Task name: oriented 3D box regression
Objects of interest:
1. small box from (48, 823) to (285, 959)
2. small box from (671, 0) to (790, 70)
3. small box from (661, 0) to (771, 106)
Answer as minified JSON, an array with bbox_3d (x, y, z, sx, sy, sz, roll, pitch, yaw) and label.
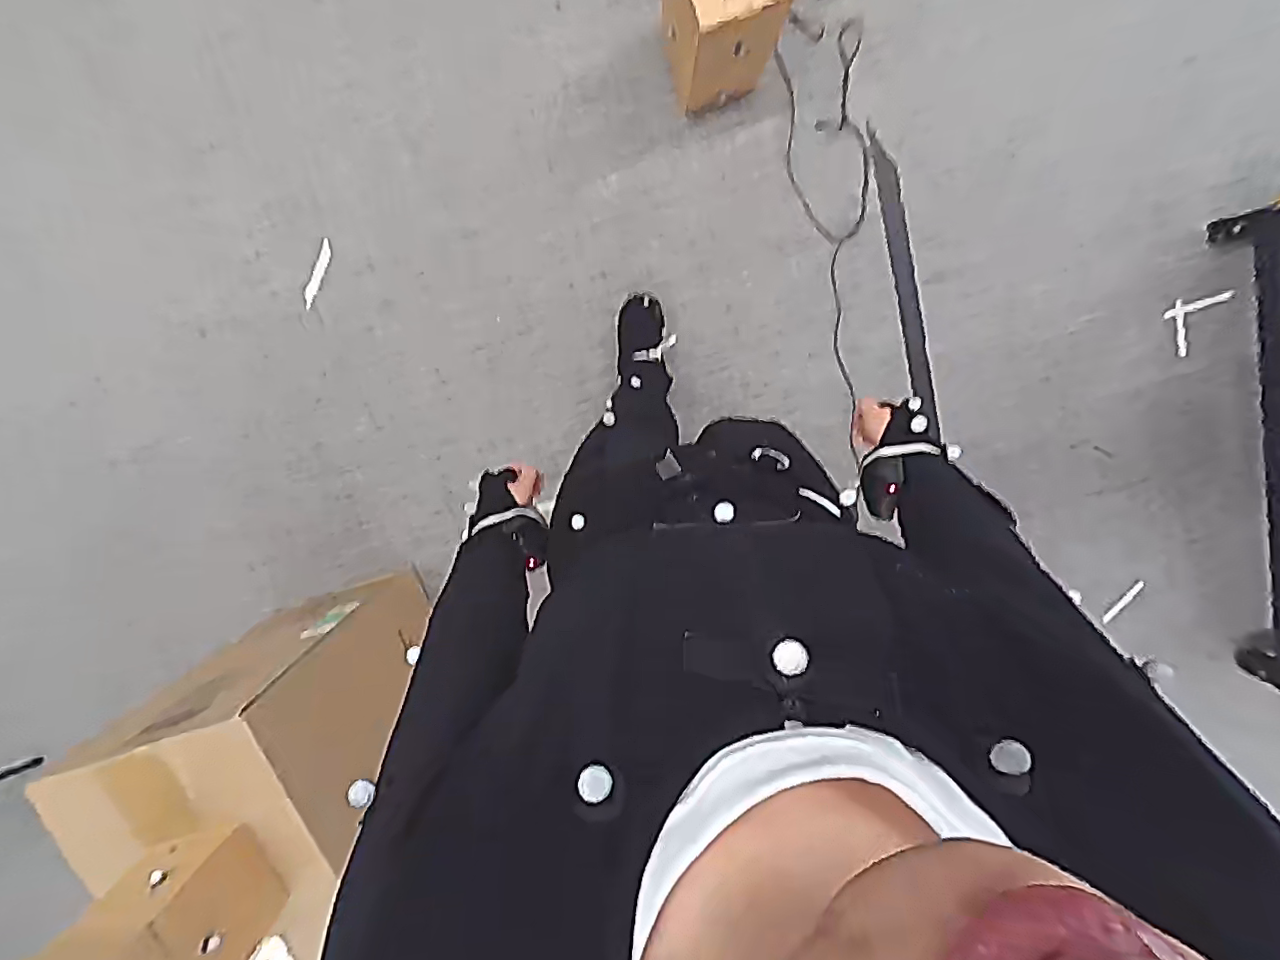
[{"bbox_3d":[-0.693,0.658,0.817,0.168,0.176,0.179,-18,104,4],"label":"small box"},{"bbox_3d":[0.142,-0.848,0.909,0.168,0.176,0.179,-18,104,5],"label":"small box"},{"bbox_3d":[0.142,-0.889,1.069,0.168,0.176,0.179,-17,104,5],"label":"small box"}]
